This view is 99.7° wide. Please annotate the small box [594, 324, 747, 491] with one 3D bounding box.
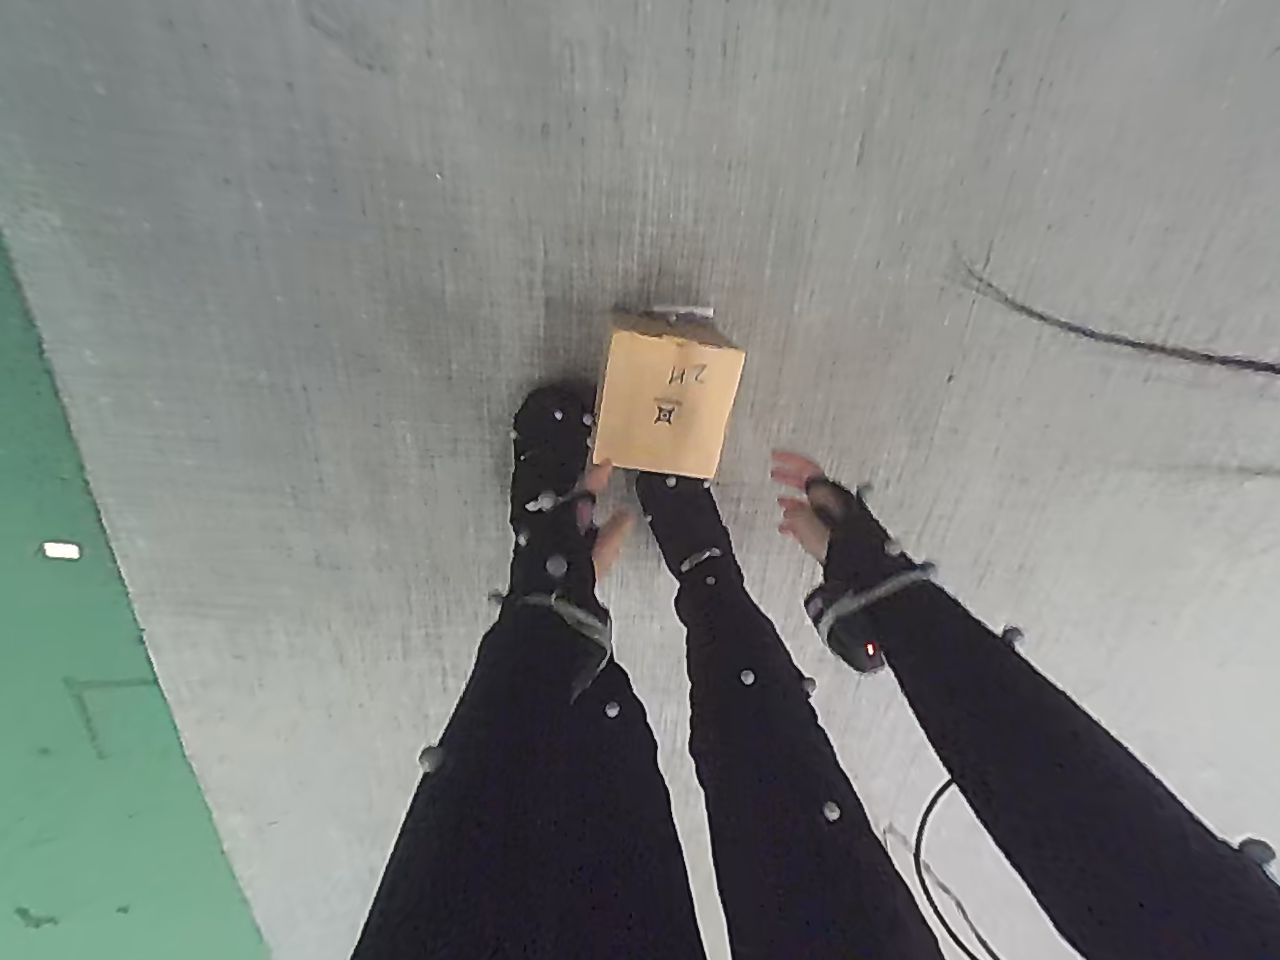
[{"bbox_3d":[0.032,-0.107,0.756,0.168,0.176,0.179,8,113,-8],"label":"small box"}]
